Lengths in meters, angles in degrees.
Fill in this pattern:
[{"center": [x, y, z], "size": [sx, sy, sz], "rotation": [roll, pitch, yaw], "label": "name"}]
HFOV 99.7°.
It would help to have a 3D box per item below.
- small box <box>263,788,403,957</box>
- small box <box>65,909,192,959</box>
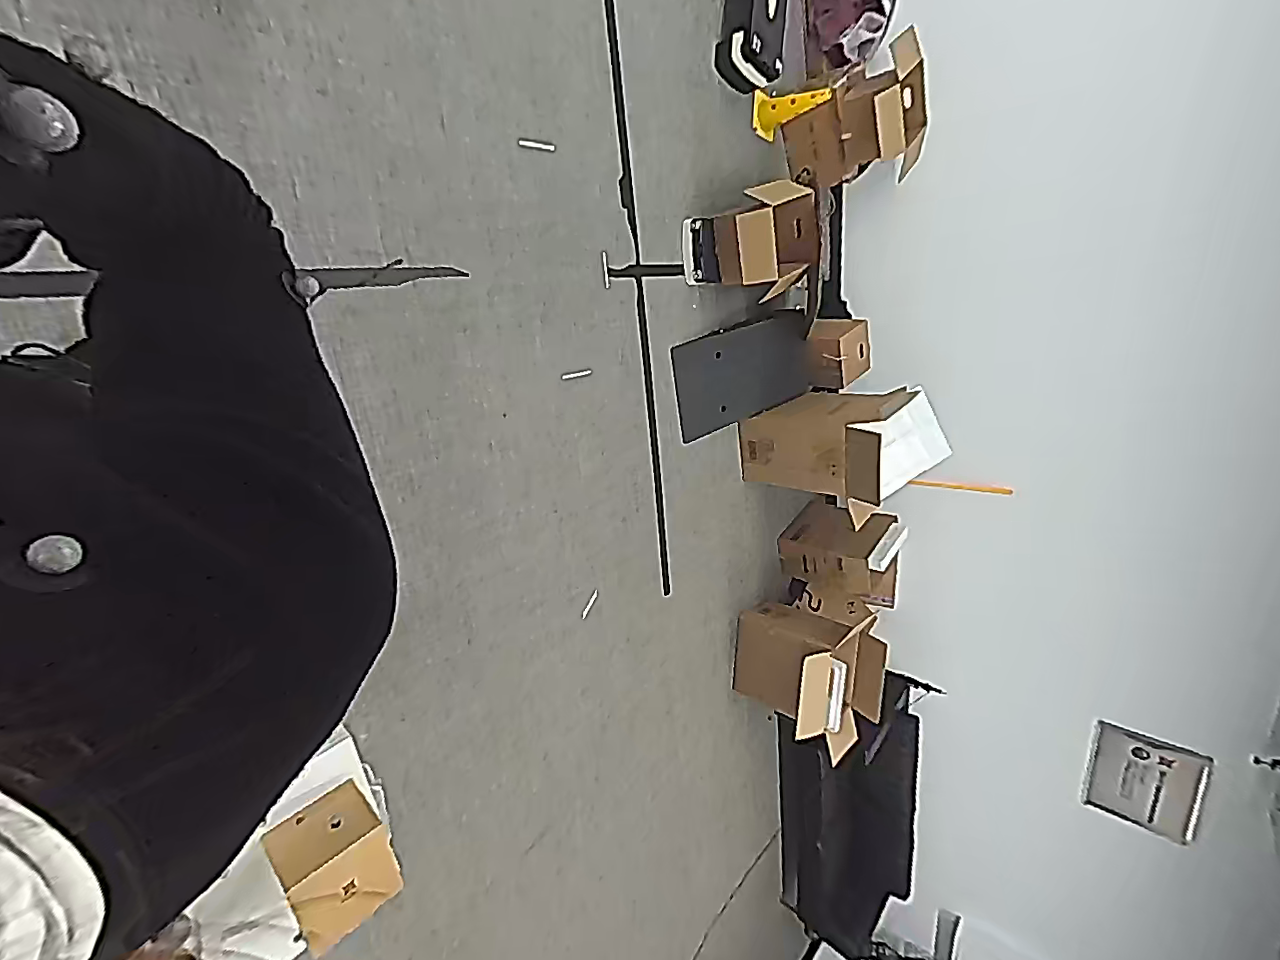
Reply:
[{"center": [-0.589, 0.731, 1.037], "size": [0.168, 0.176, 0.179], "rotation": [-24, 117, -43], "label": "small box"}, {"center": [-0.792, 0.817, 0.821], "size": [0.168, 0.176, 0.179], "rotation": [-29, 120, -43], "label": "small box"}]
